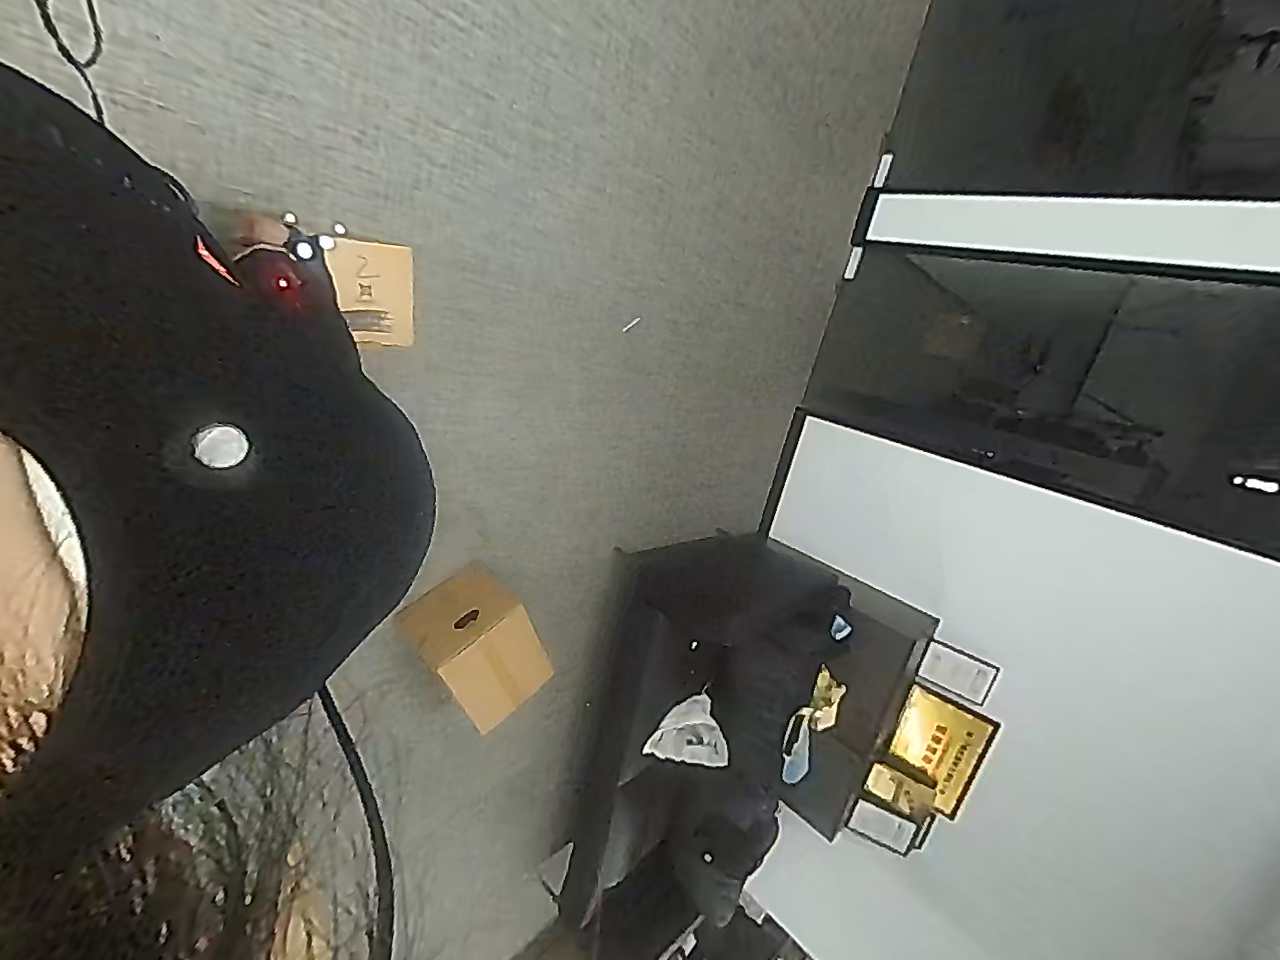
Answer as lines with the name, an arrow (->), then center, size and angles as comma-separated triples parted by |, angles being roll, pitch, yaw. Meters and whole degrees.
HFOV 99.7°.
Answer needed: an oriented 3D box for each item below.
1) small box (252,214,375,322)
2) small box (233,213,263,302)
small box -> -0.652, -0.422, 1.076 | 0.179, 0.176, 0.168 | -11, 121, -46
small box -> -0.767, -0.472, 1.179 | 0.179, 0.176, 0.168 | -6, 116, -47
